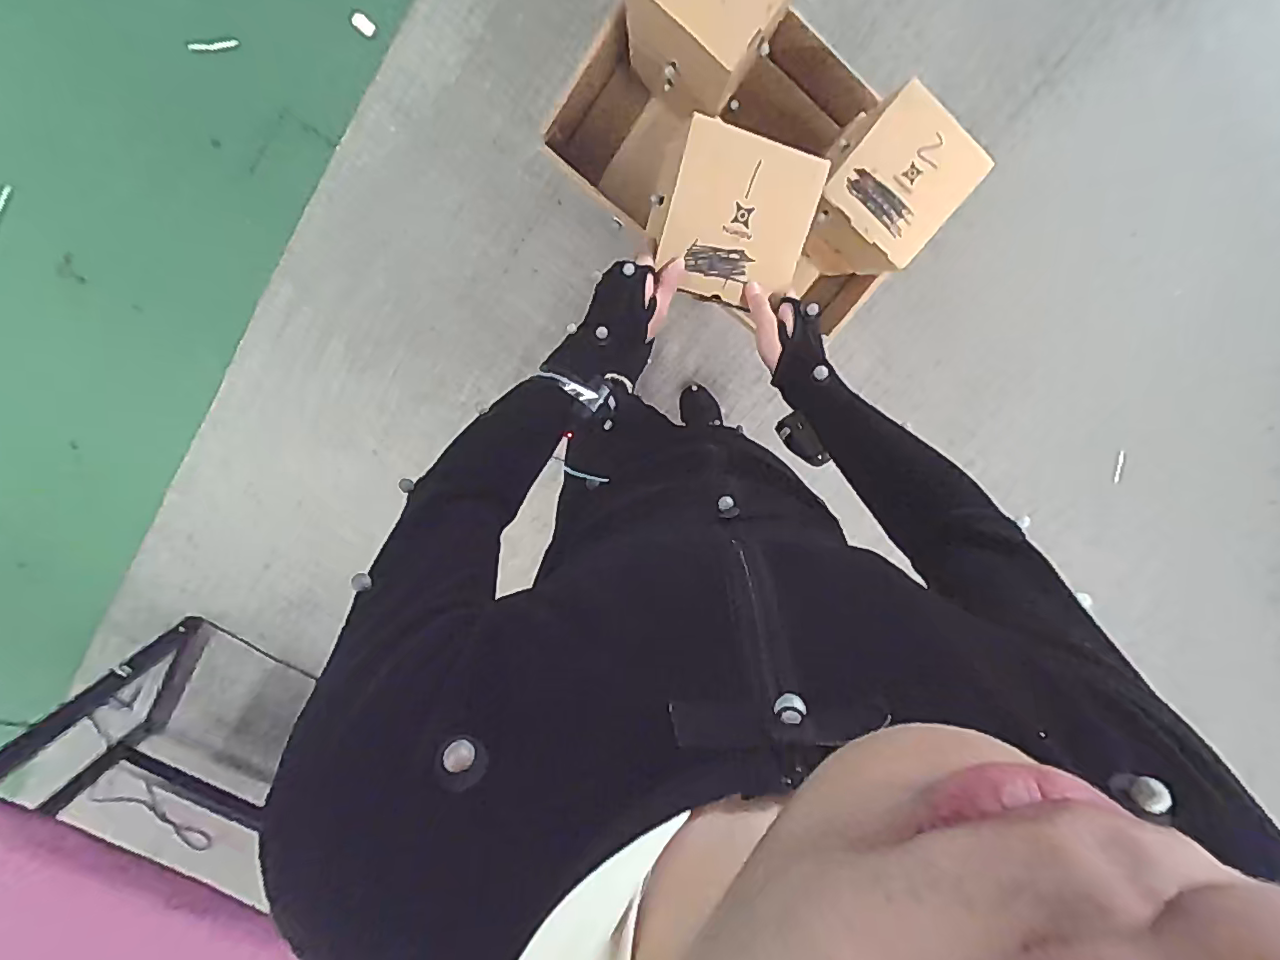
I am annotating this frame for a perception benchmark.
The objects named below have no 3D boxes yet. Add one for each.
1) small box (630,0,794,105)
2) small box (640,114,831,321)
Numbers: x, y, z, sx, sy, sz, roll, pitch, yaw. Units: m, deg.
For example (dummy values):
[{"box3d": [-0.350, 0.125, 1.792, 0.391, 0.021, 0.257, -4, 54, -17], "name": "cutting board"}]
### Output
[{"box3d": [0.103, -0.659, 0.742, 0.179, 0.176, 0.168, 36, 105, -12], "name": "small box"}, {"box3d": [0.103, -0.314, 0.678, 0.168, 0.176, 0.179, 12, 108, -12], "name": "small box"}]
